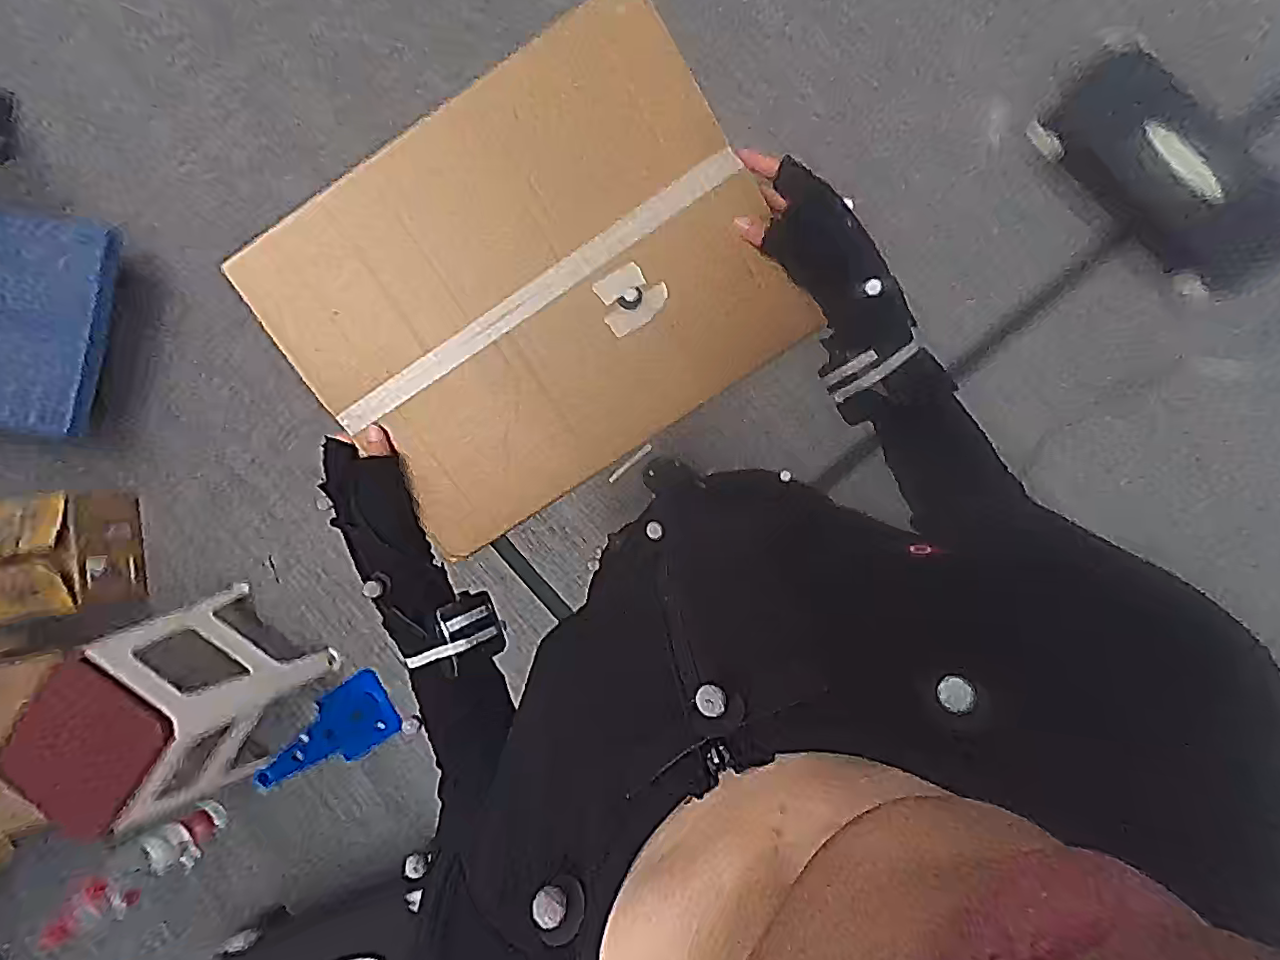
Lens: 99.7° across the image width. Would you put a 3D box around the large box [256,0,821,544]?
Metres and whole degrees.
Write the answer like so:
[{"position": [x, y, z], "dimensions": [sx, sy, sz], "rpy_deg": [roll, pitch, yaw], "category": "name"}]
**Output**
[{"position": [-0.089, -0.195, 0.614], "dimensions": [0.408, 0.320, 0.320], "rpy_deg": [-32, 102, 4], "category": "large box"}]
